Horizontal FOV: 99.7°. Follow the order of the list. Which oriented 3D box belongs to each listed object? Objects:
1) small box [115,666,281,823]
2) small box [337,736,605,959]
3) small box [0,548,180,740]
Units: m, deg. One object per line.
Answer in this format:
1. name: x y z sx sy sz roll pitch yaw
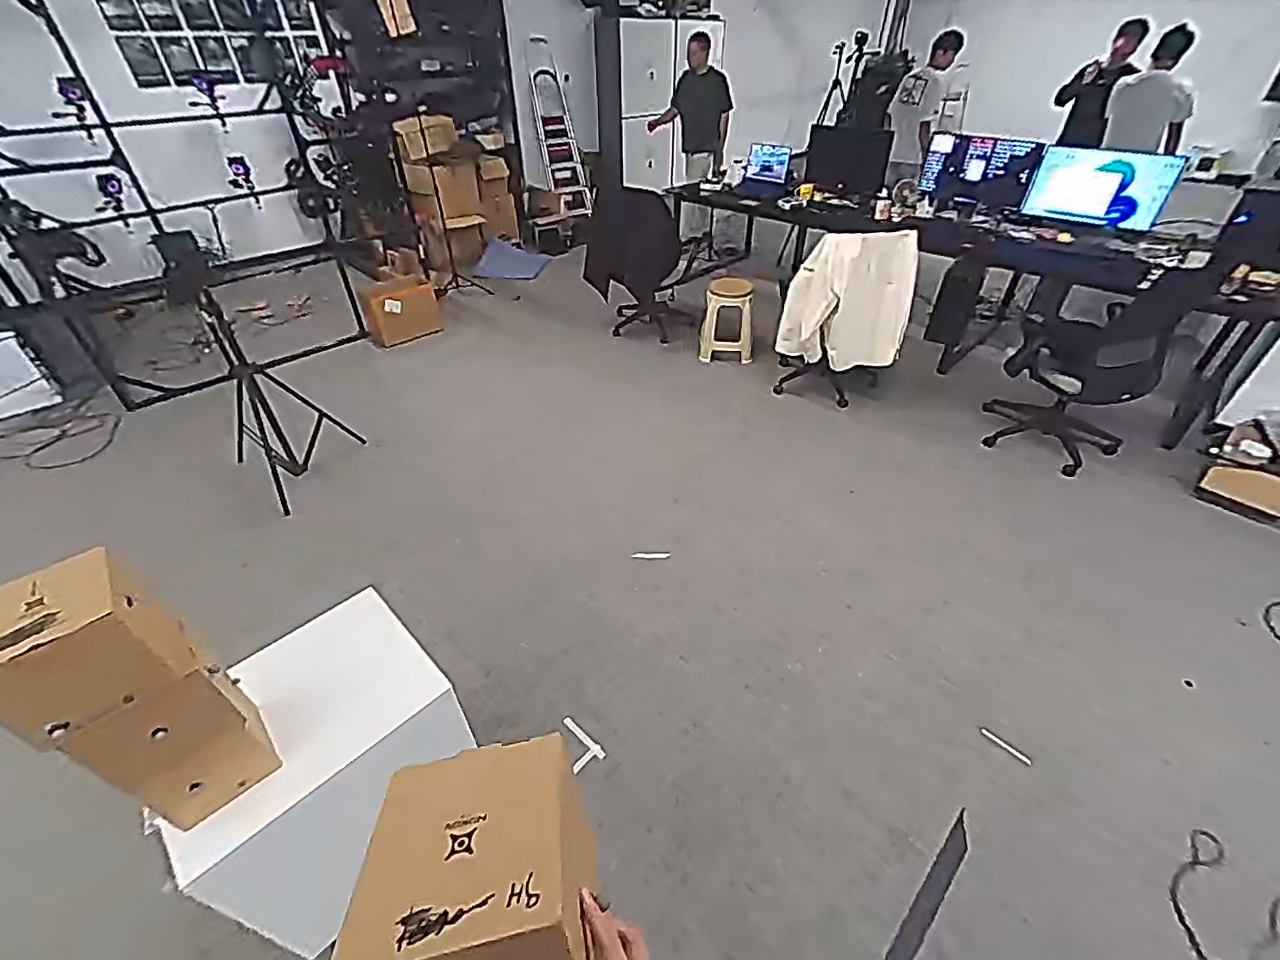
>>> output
1. small box: -0.798 0.488 0.989 0.168 0.176 0.179 -32 48 -33
2. small box: -0.127 0.370 0.477 0.168 0.176 0.179 -12 20 -4
3. small box: -0.804 0.238 0.775 0.168 0.176 0.179 -30 46 -30
